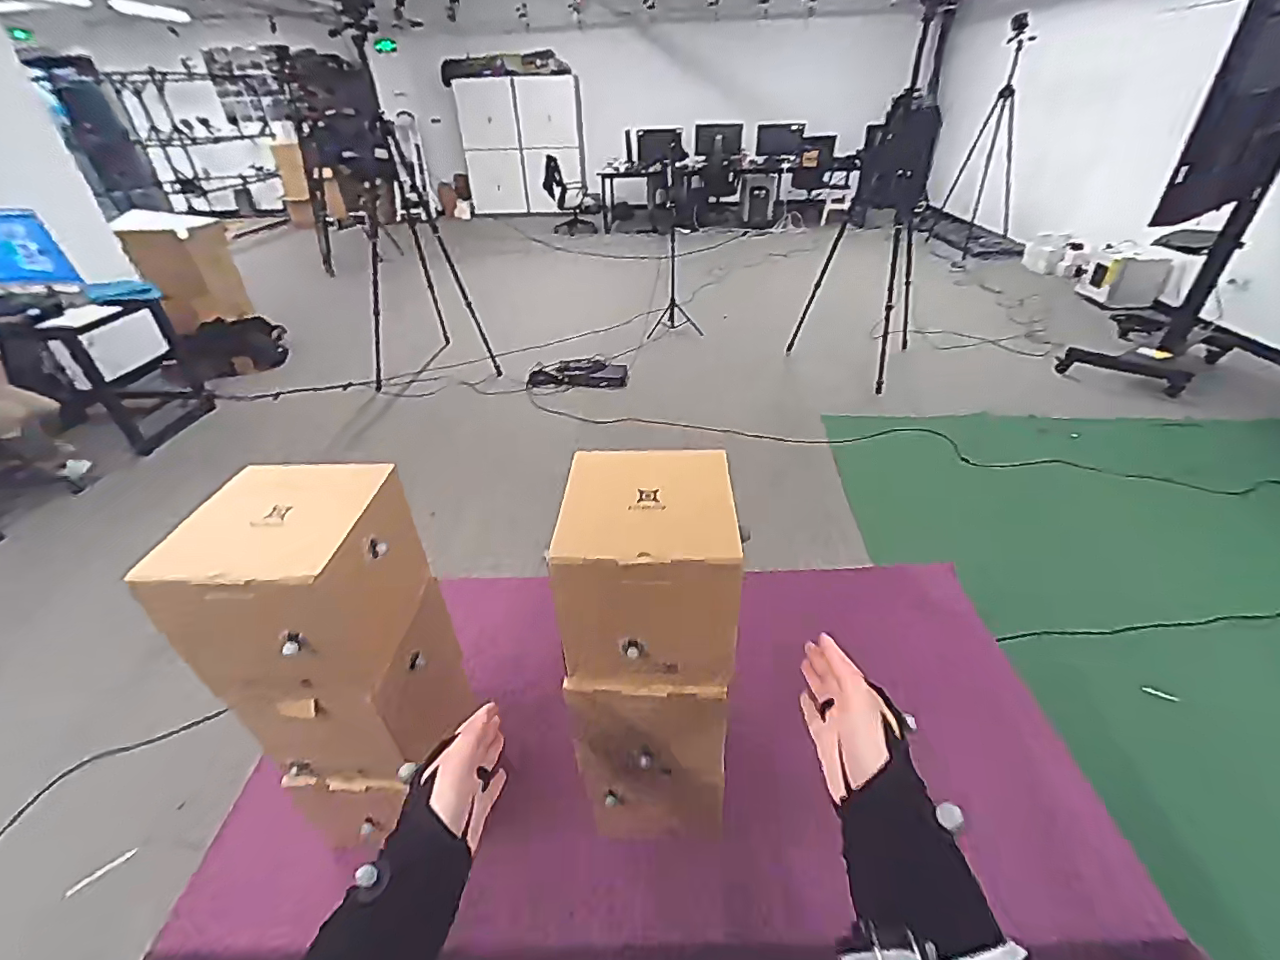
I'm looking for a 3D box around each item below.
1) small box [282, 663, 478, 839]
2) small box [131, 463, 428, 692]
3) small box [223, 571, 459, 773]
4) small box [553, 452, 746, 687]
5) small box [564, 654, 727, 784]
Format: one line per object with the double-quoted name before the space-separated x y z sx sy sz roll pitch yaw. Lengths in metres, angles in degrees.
"small box" -0.336 0.368 0.746 0.168 0.176 0.179 2 36 2
"small box" -0.340 0.098 0.560 0.168 0.176 0.179 1 35 2
"small box" -0.337 0.229 0.657 0.168 0.176 0.179 1 34 4
"small box" 0.012 0.087 0.562 0.168 0.176 0.179 1 35 3
"small box" 0.013 0.227 0.646 0.168 0.176 0.179 2 35 5
